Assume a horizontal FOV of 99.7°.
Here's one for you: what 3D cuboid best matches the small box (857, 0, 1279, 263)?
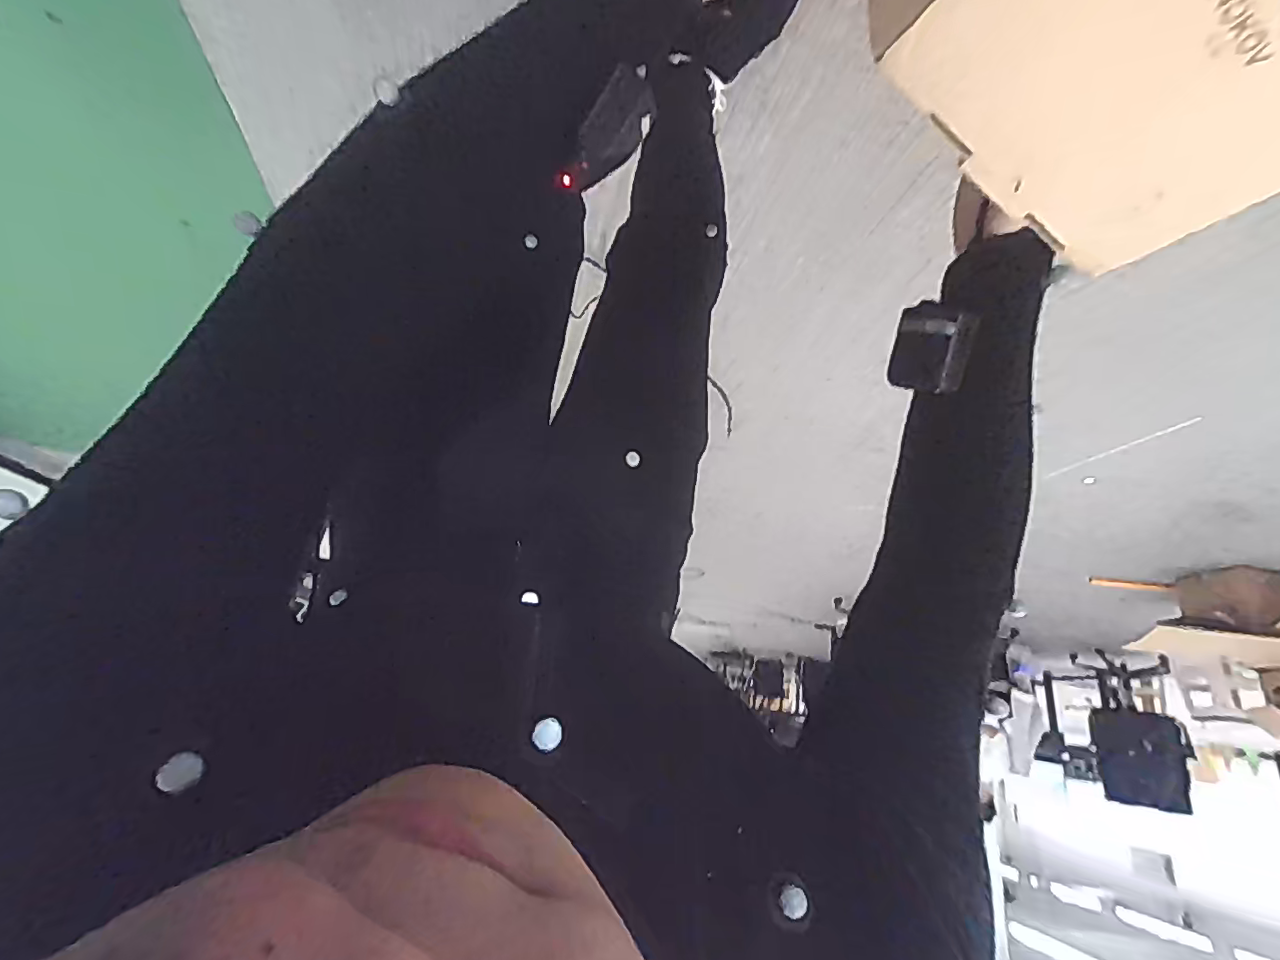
[{"bbox_3d":[0.200,-0.225,0.189,0.168,0.176,0.179,20,154,-27],"label":"small box"}]
